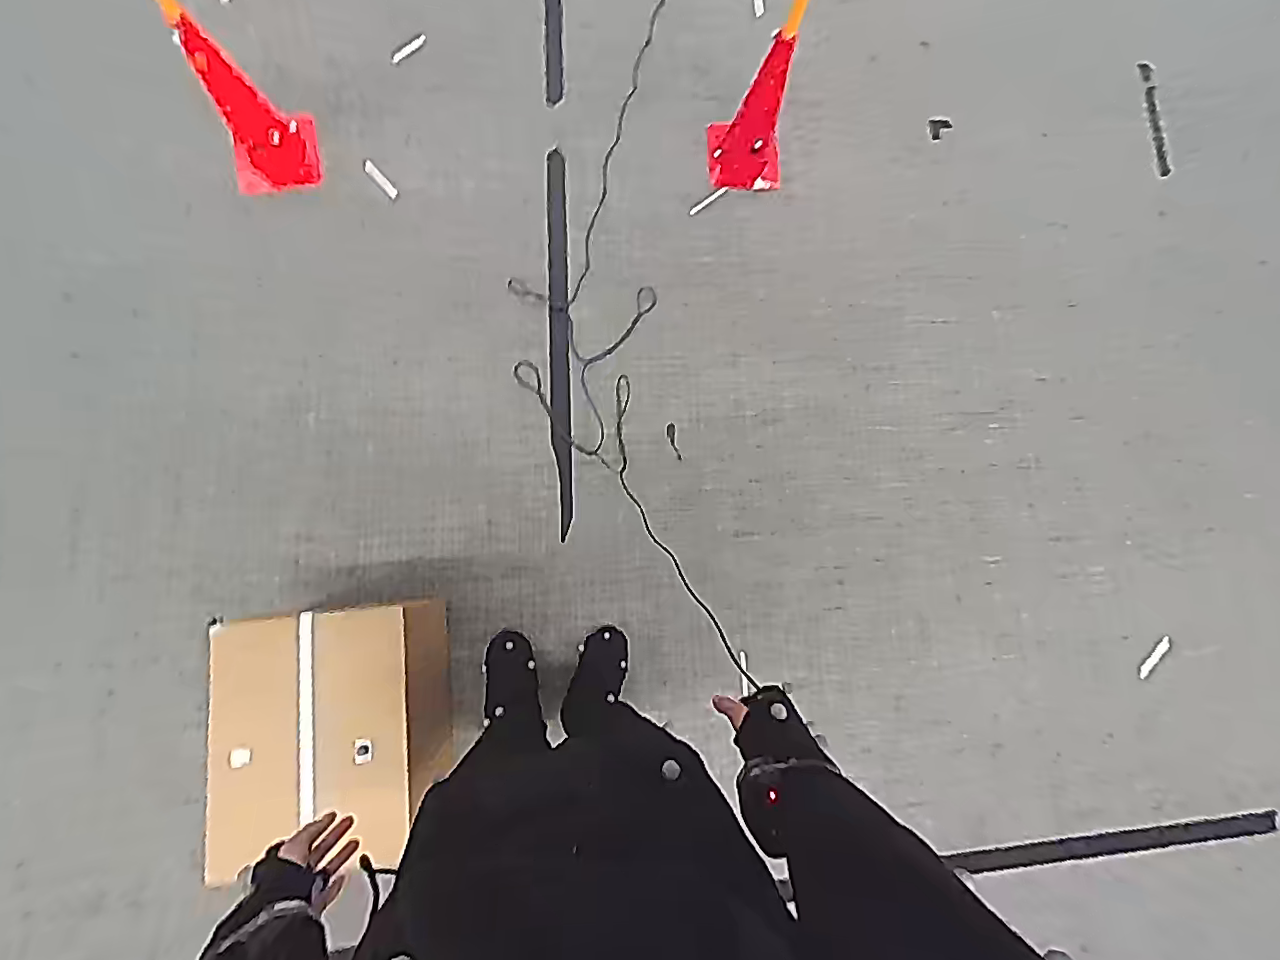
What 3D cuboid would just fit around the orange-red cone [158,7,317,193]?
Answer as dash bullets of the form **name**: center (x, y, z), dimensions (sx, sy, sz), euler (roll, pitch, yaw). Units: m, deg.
- **orange-red cone**: center (-0.904, -0.843, 1.187), dimensions (0.199, 0.360, 0.198), euler (-11, 81, -6)
